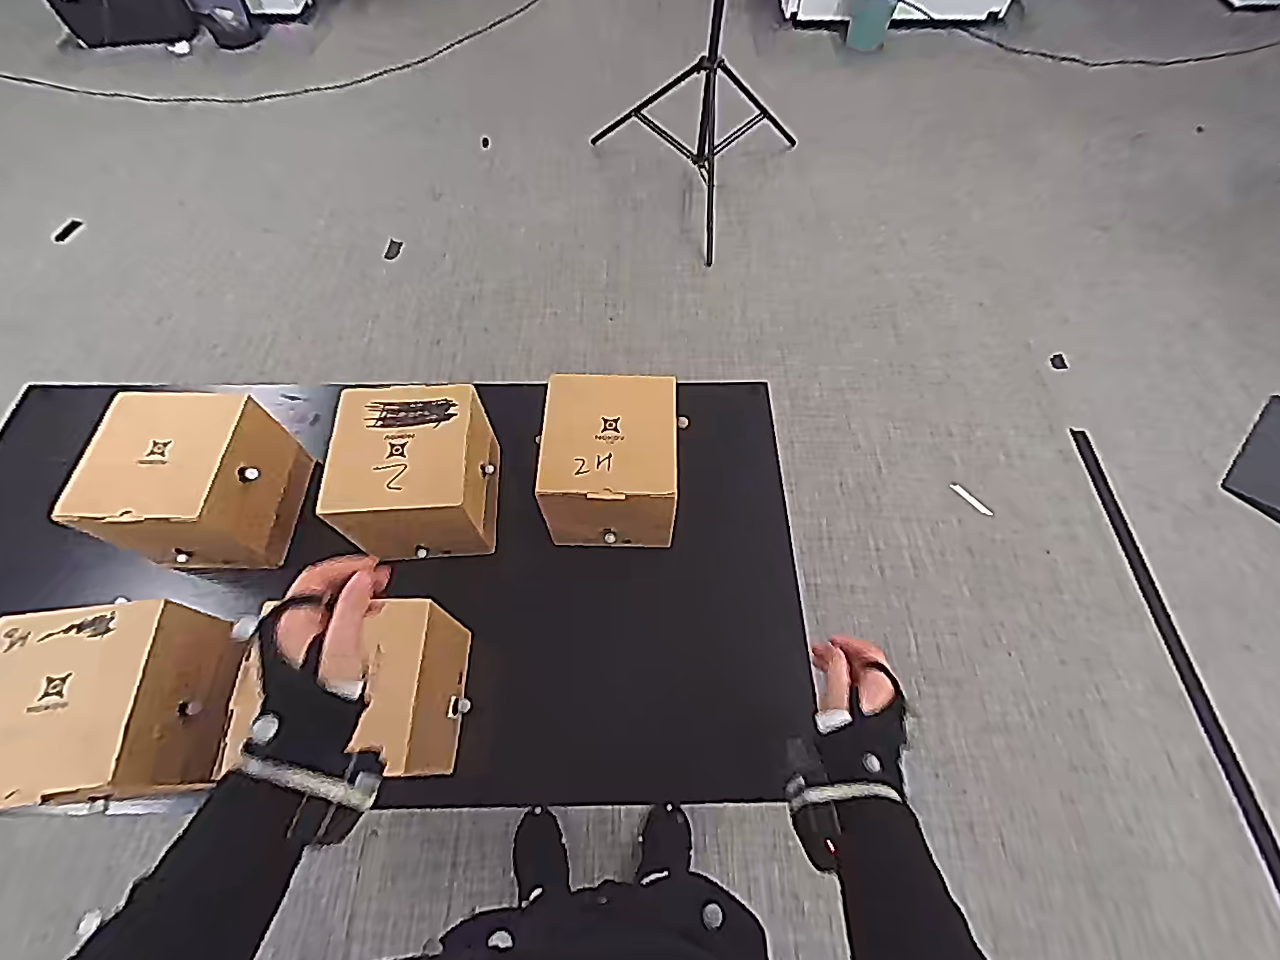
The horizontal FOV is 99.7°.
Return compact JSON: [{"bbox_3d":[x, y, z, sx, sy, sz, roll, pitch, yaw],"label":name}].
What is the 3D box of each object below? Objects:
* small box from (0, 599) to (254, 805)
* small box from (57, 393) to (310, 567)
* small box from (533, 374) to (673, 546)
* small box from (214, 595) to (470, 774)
[{"bbox_3d":[-0.563,0.243,0.591,0.168,0.176,0.179,-6,63,-4],"label":"small box"},{"bbox_3d":[-0.577,0.005,0.718,0.168,0.176,0.179,0,63,0],"label":"small box"},{"bbox_3d":[-0.041,-0.023,0.737,0.168,0.176,0.179,0,62,1],"label":"small box"},{"bbox_3d":[-0.306,0.232,0.601,0.179,0.176,0.168,-1,63,-2],"label":"small box"}]
